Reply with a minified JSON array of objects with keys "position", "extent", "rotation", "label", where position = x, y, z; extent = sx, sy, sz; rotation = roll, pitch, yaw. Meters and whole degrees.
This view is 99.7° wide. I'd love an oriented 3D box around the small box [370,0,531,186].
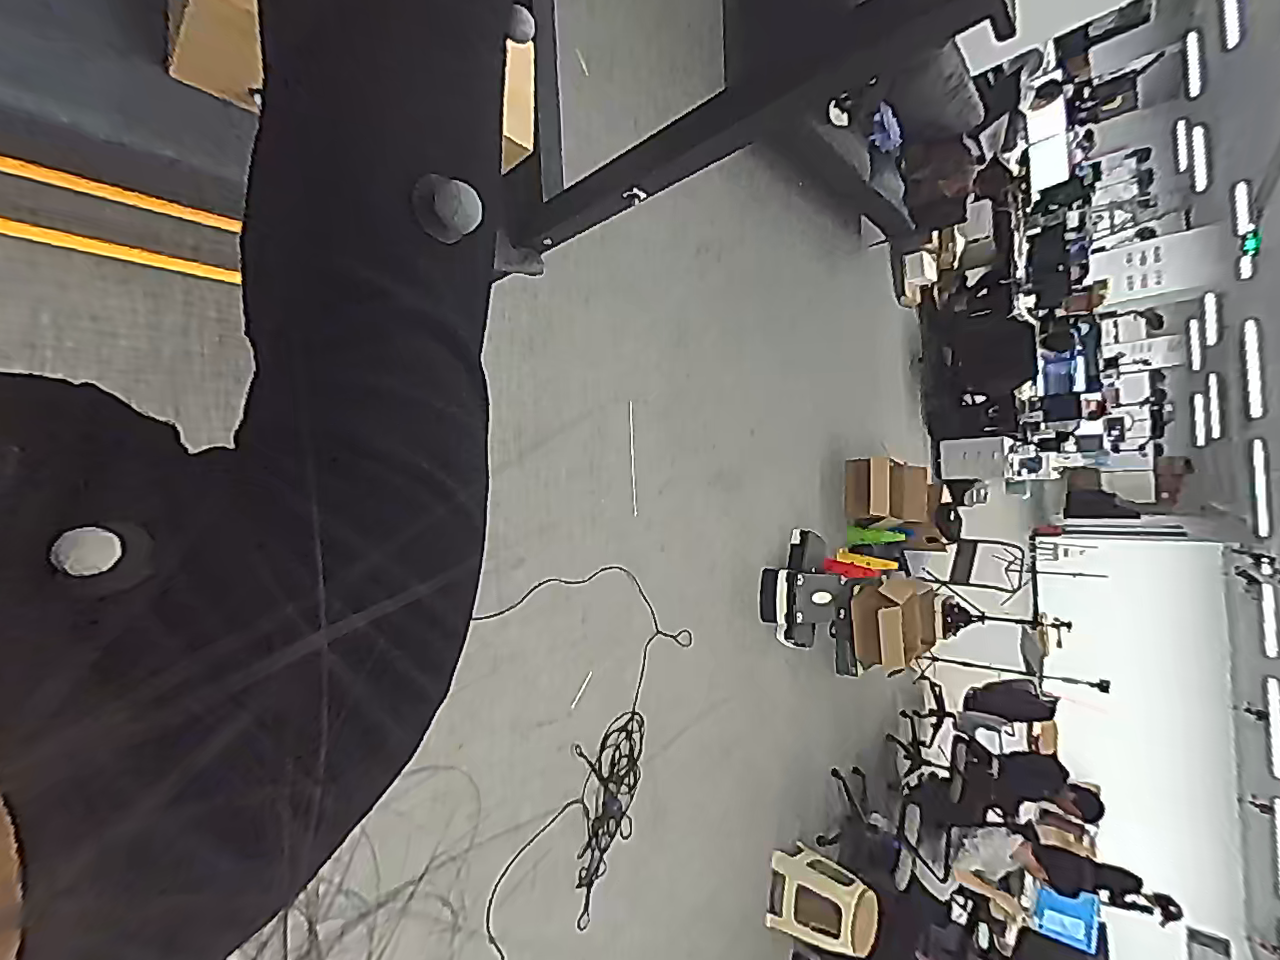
[{"position":[-0.279,-0.573,0.794],"extent":[0.168,0.176,0.179],"rotation":[4,84,-48],"label":"small box"}]
